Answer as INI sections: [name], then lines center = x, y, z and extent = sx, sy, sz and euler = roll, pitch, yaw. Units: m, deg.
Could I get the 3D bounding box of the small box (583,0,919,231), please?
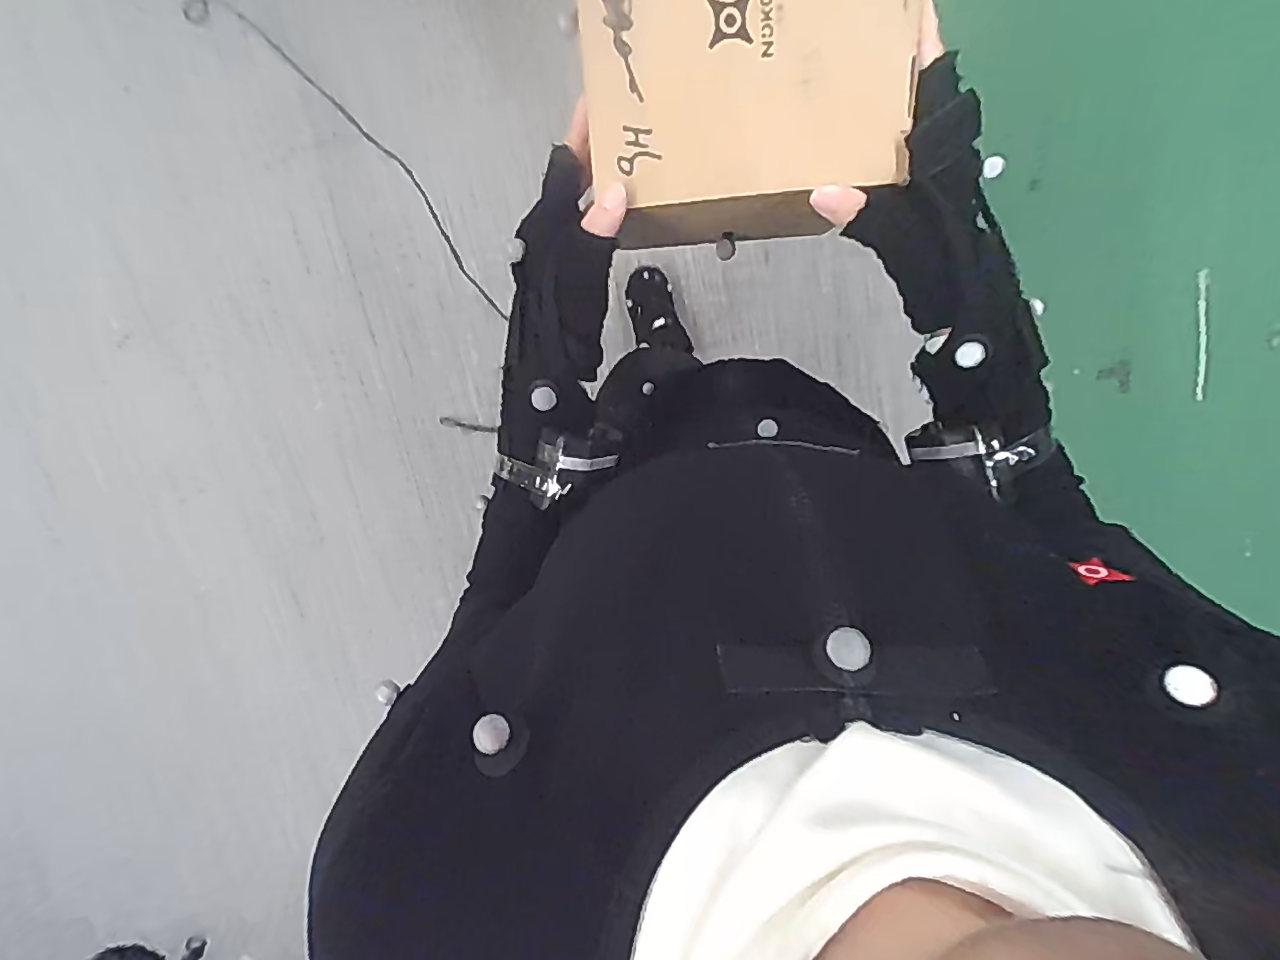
[small box]
center = 0.058, -0.271, 0.355
extent = 0.179, 0.176, 0.168
euler = -4, 105, 2
